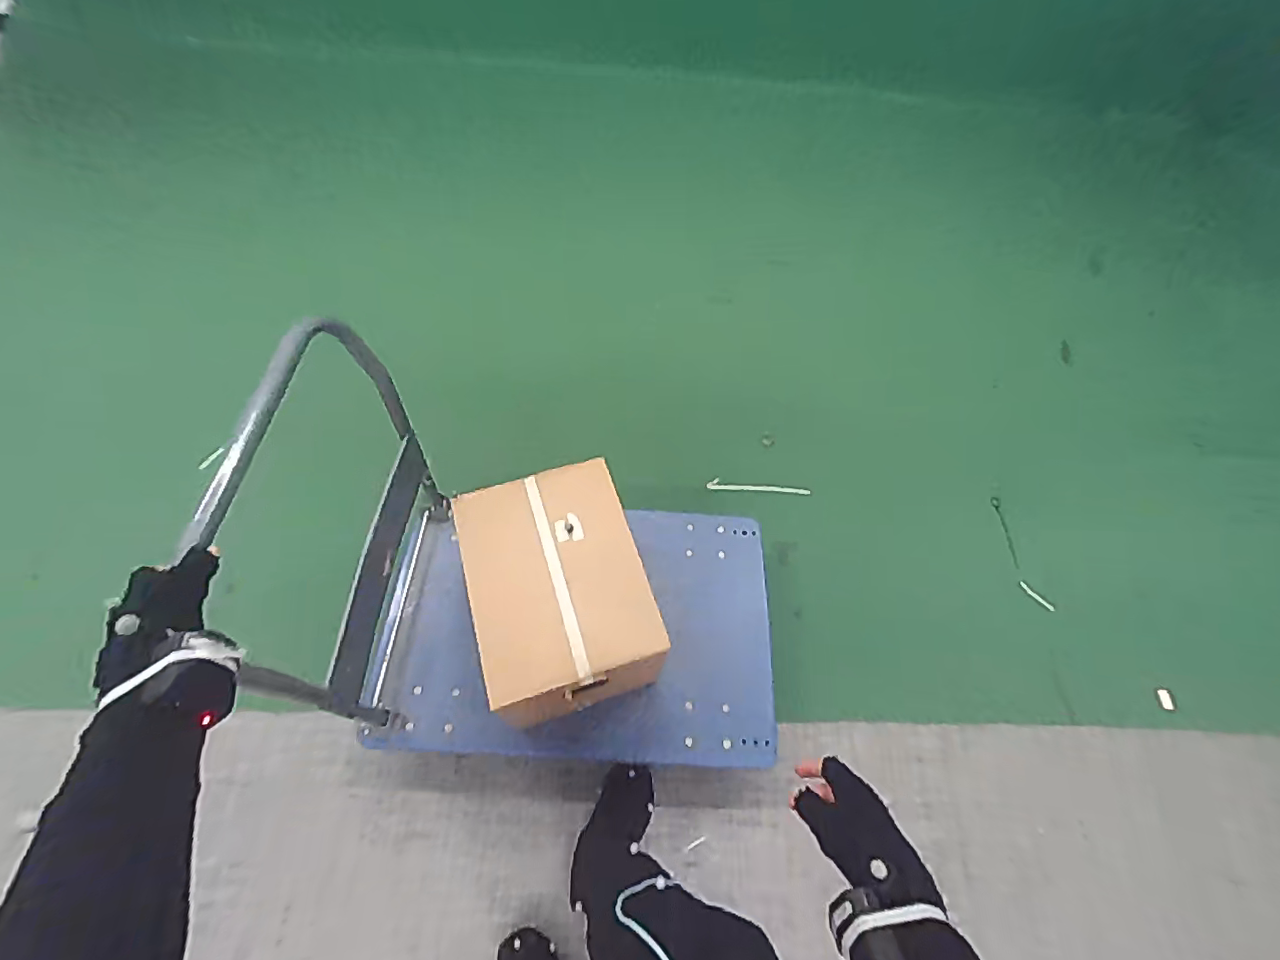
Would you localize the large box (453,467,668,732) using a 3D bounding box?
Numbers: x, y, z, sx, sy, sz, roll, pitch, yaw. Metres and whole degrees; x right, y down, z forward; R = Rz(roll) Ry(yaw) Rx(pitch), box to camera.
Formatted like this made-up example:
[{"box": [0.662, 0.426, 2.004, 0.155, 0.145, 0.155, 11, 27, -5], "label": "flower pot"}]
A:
[{"box": [-0.161, 0.250, 1.123, 0.320, 0.320, 0.408, -16, 61, -11], "label": "large box"}]
